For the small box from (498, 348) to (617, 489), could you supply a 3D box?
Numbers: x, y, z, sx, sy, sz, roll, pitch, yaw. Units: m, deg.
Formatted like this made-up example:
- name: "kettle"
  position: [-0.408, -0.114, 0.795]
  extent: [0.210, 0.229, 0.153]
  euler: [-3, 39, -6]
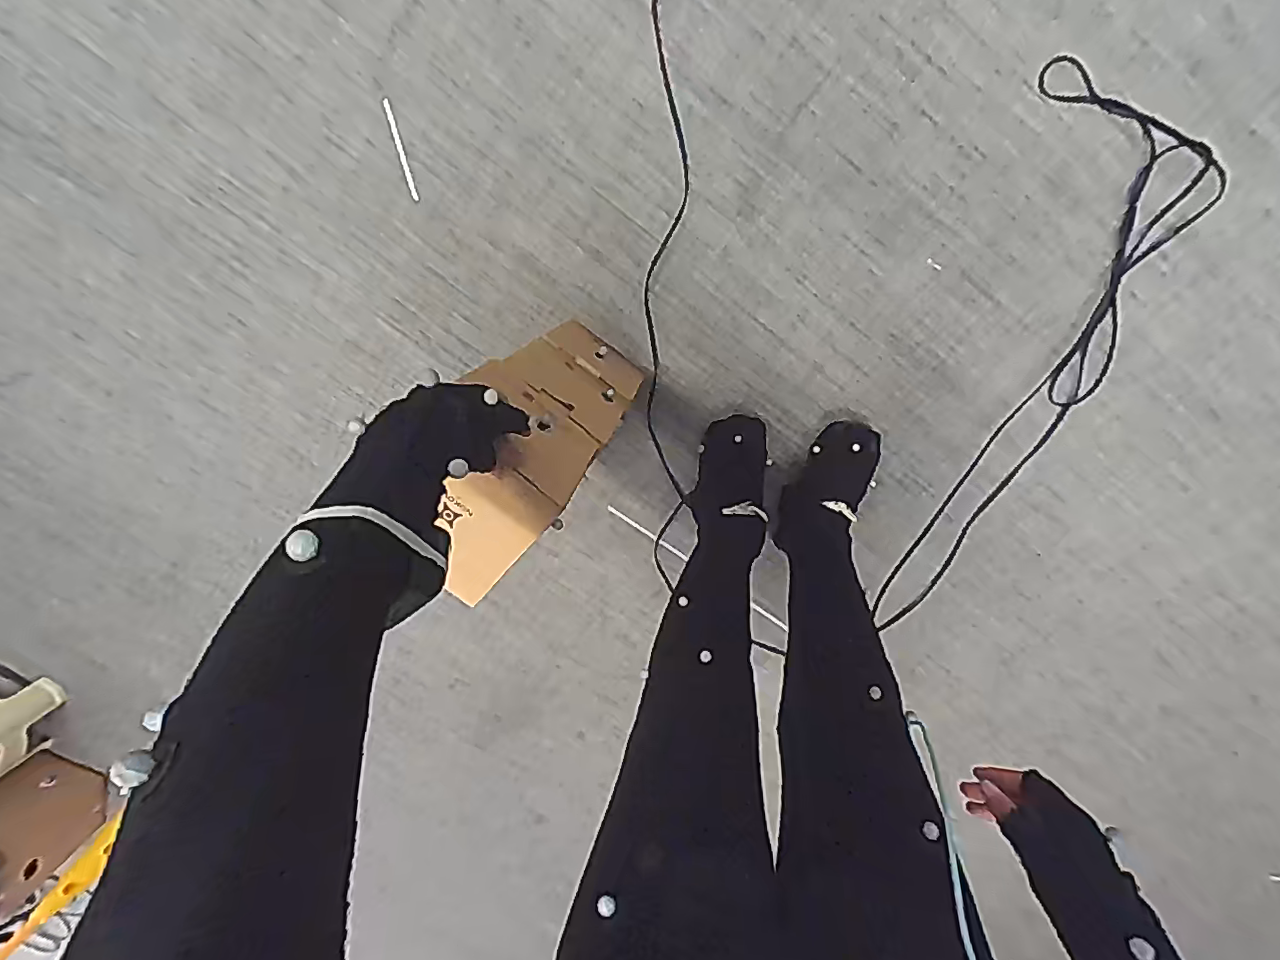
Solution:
- name: "small box"
  position: [-0.147, -0.060, 0.760]
  extent: [0.168, 0.176, 0.179]
  euler: [37, 116, -10]

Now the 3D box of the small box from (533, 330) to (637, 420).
- name: "small box"
  position: [-0.119, -0.132, 0.909]
  extent: [0.168, 0.176, 0.179]
  euler: [35, 114, -6]

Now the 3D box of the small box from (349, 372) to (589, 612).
- name: "small box"
  position: [-0.179, 0.006, 0.614]
  extent: [0.168, 0.176, 0.179]
  euler: [39, 115, -10]
